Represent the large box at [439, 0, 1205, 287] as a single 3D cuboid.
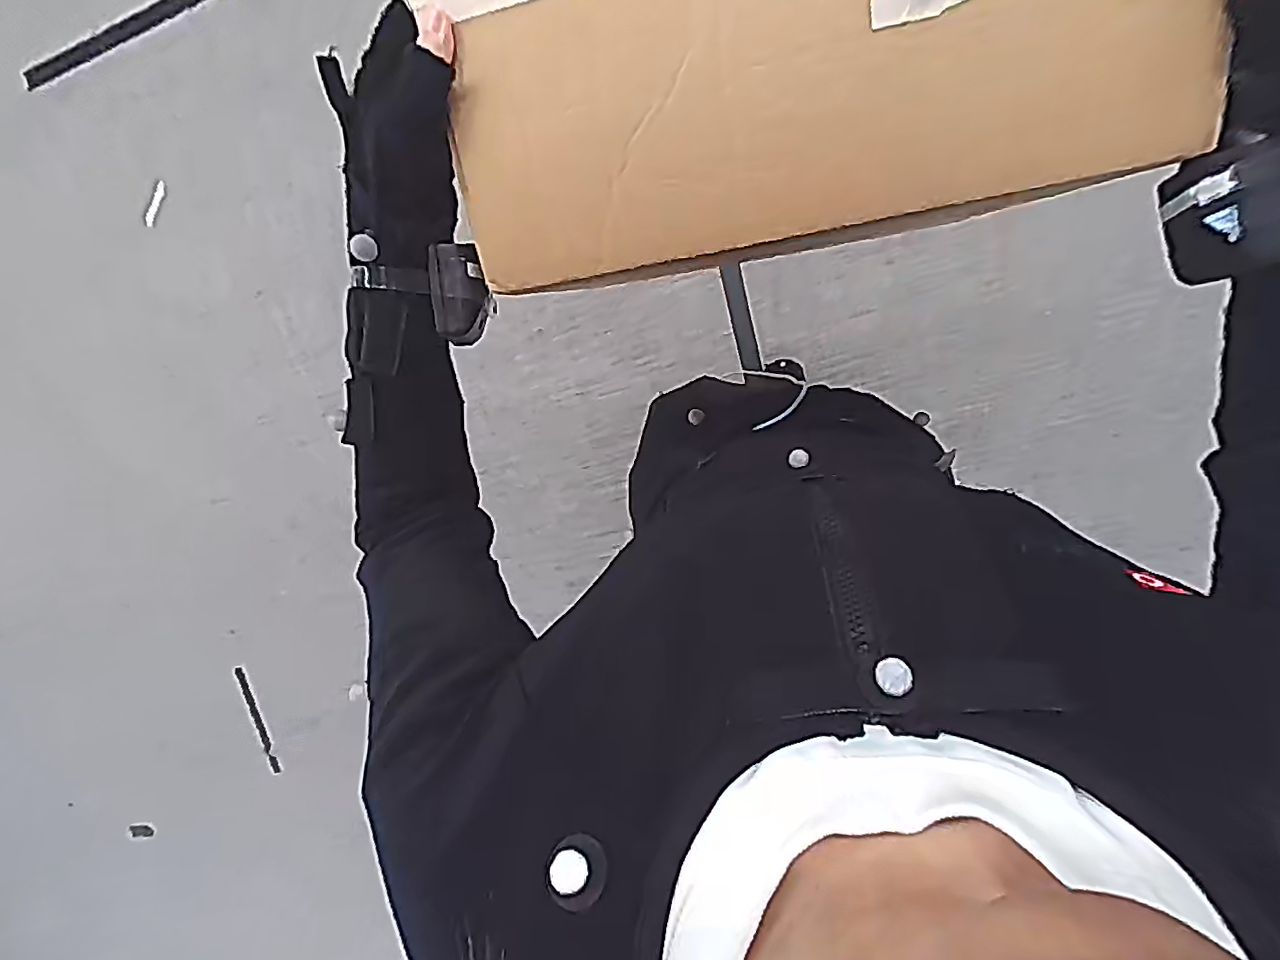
[{"bbox_3d":[0.093,-0.350,0.421,0.408,0.320,0.320,-8,109,11],"label":"large box"}]
